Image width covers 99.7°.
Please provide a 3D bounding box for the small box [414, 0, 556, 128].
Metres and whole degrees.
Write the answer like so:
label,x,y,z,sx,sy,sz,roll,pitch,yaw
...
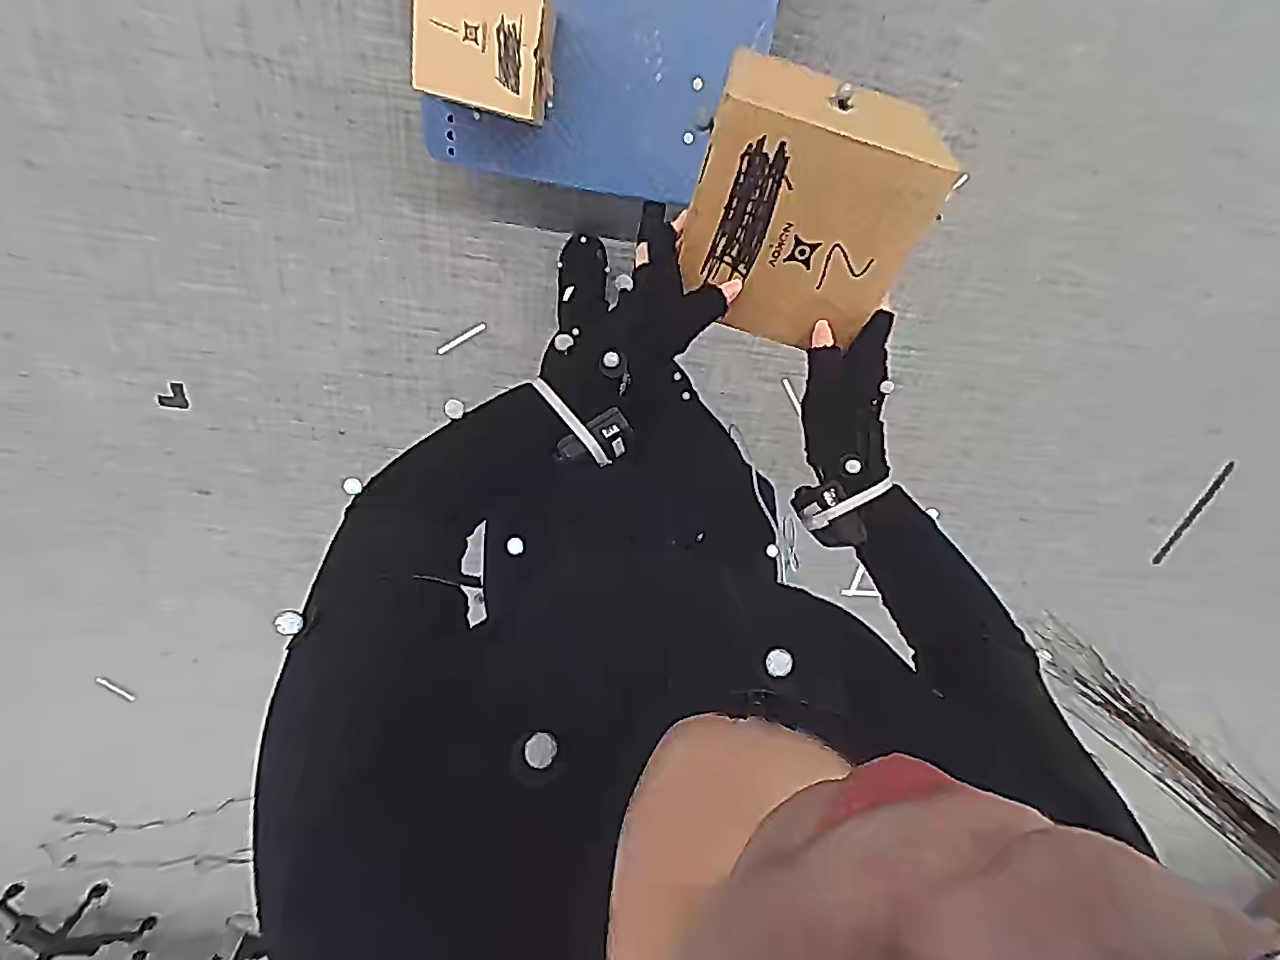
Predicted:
label,x,y,z,sx,sy,sz,roll,pitch,yaw
small box,-0.230,-0.655,0.826,0.179,0.176,0.168,10,120,-8
